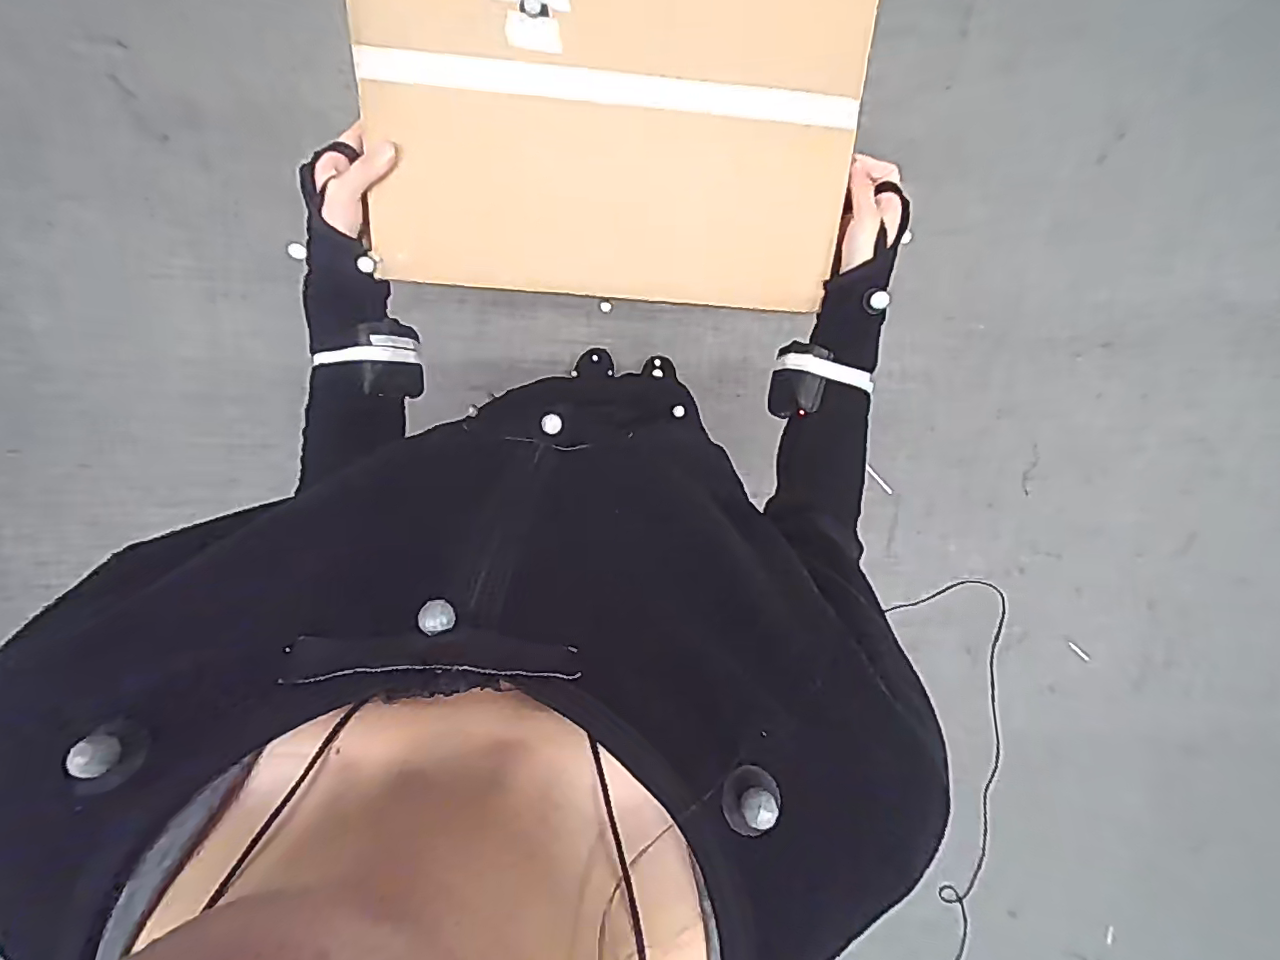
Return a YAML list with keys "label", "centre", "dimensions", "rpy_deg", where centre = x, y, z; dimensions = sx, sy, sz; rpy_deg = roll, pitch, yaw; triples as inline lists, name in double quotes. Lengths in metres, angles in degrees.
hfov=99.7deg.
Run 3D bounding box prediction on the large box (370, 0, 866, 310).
- label: "large box"
  centre: [-0.025, -0.366, 0.594]
  dimensions: [0.408, 0.320, 0.320]
  rpy_deg: [3, 109, -4]
